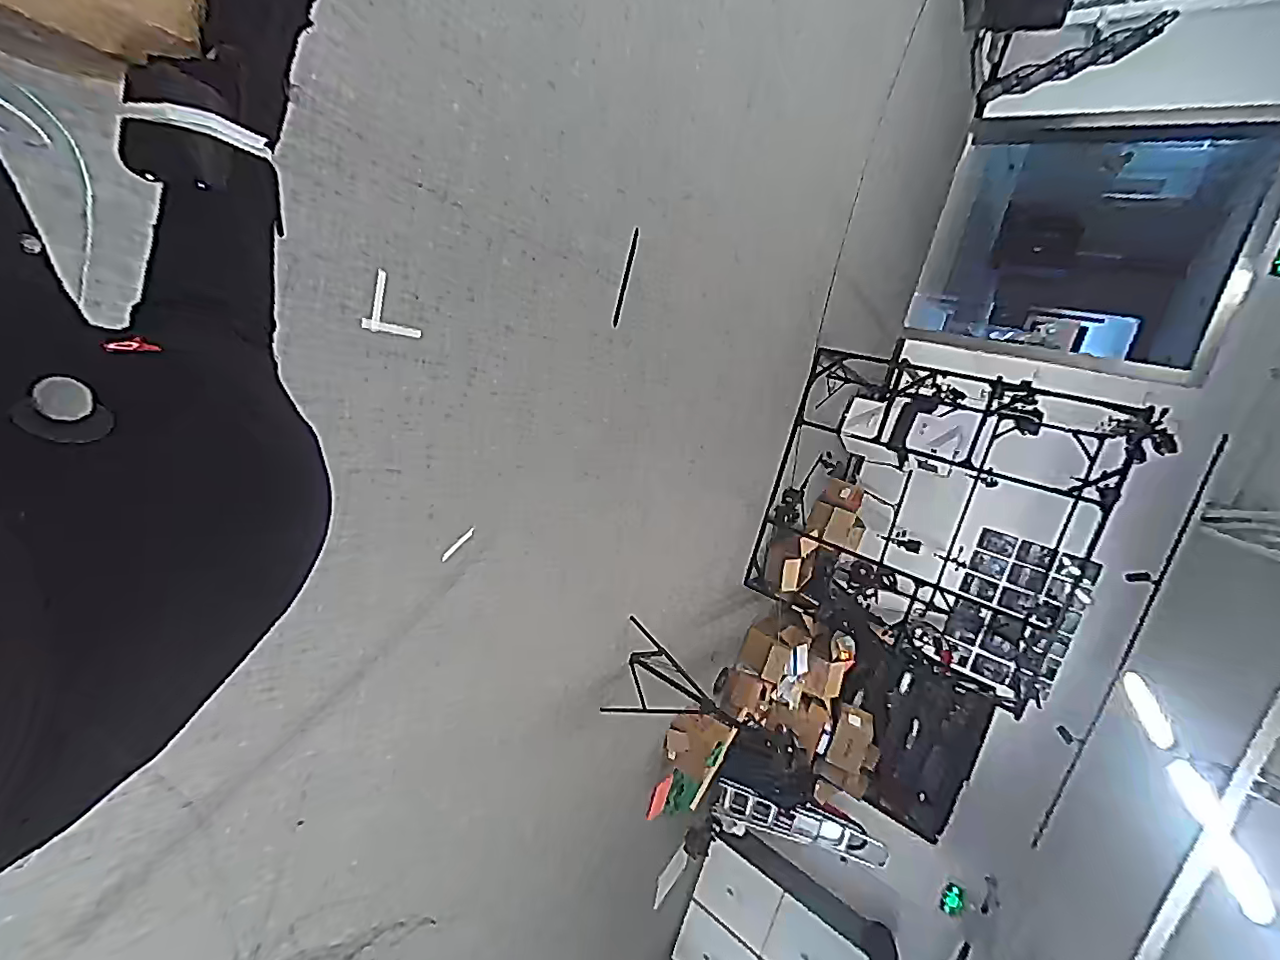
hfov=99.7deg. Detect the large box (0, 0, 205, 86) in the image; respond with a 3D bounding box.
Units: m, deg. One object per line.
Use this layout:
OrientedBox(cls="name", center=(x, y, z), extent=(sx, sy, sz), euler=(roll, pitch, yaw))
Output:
OrientedBox(cls="large box", center=(-0.490, -0.462, 0.246), extent=(0.408, 0.320, 0.320), euler=(-4, 118, -59))
